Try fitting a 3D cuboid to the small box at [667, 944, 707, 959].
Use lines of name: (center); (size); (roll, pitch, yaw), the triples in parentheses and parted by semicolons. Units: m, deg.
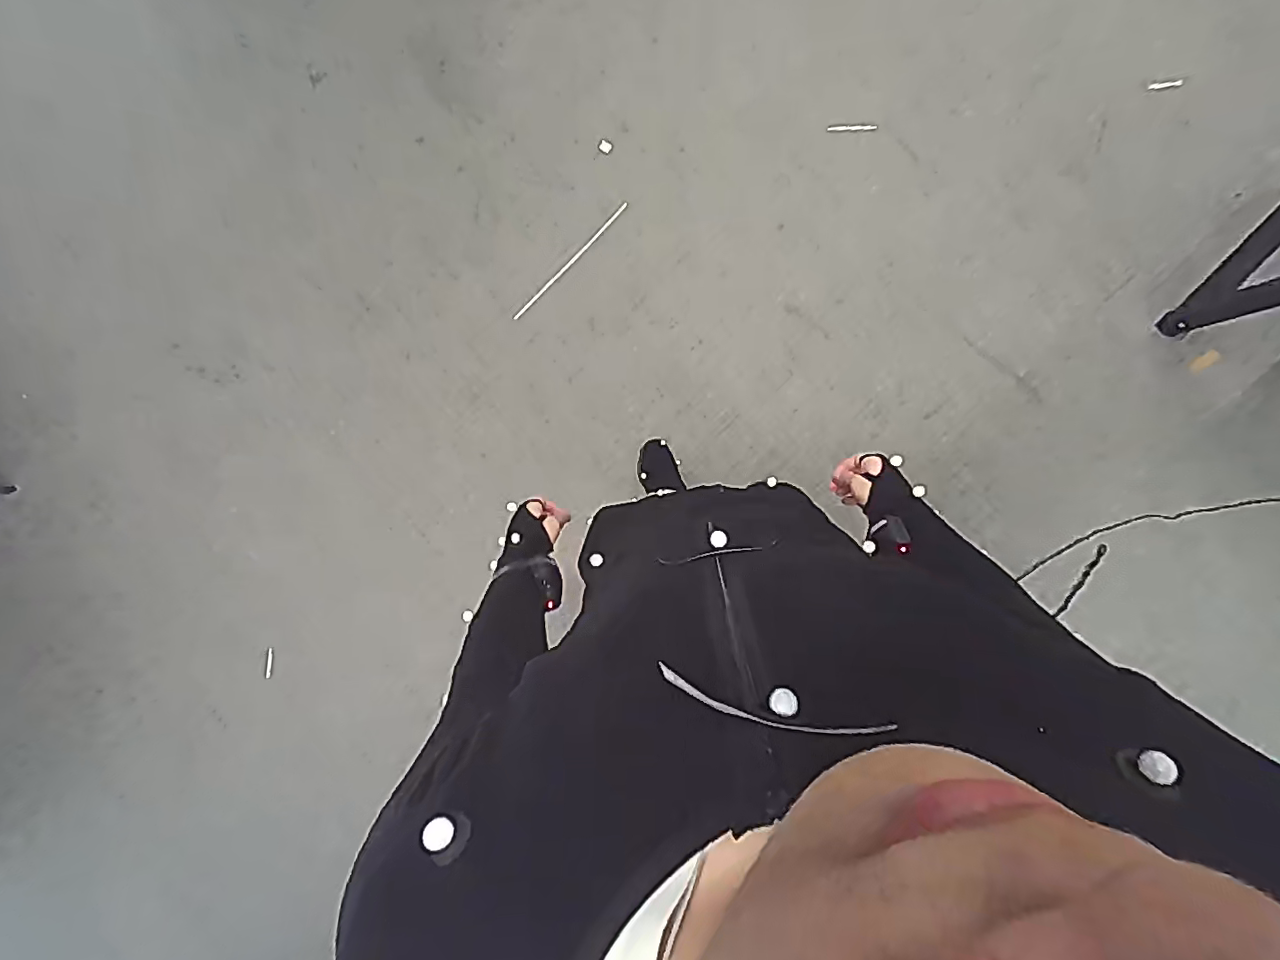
small box: (0.145, 1.503, 1.549); (0.168, 0.176, 0.179); (-44, 88, 2)
